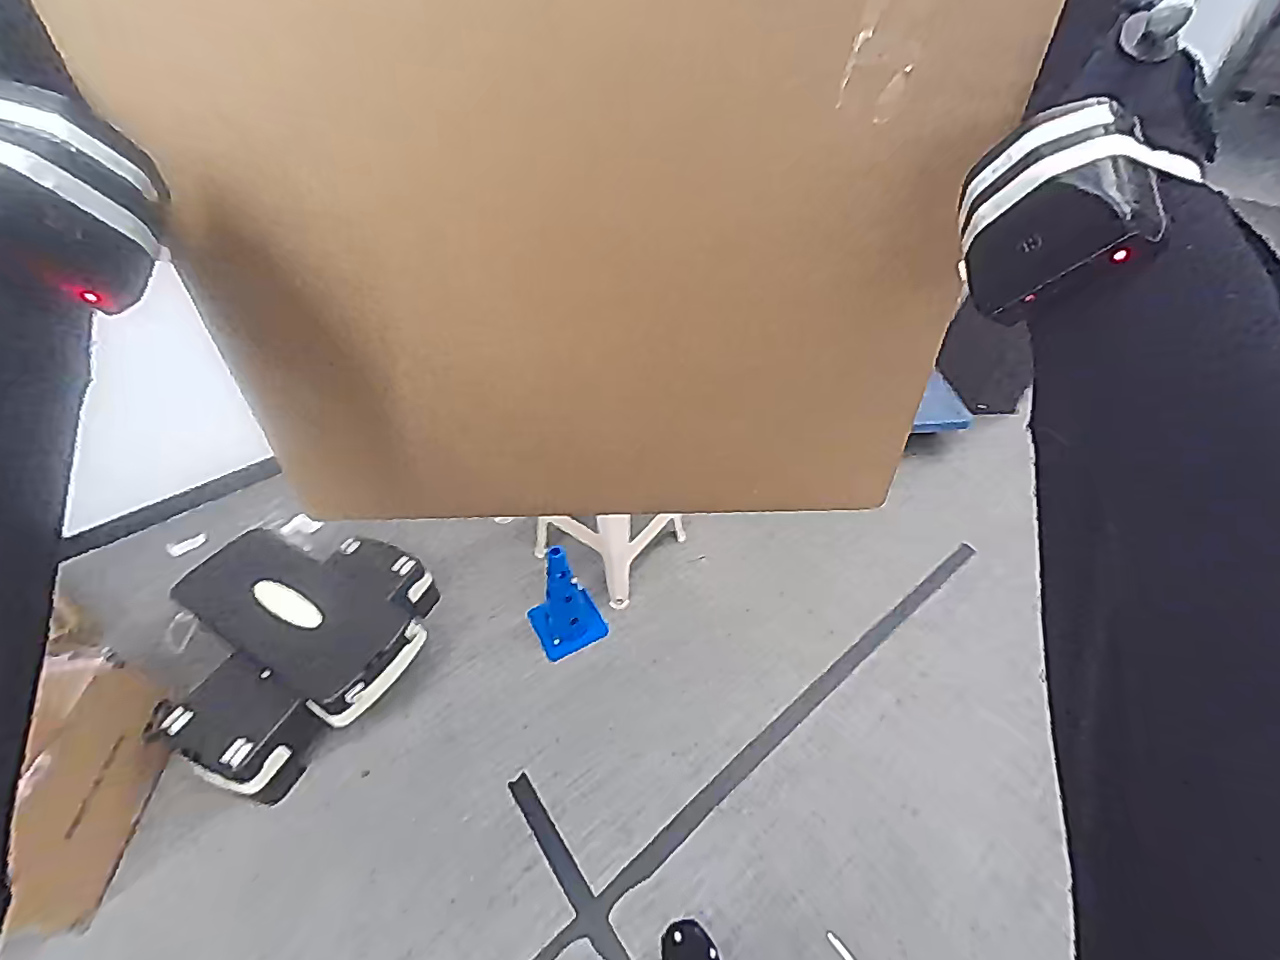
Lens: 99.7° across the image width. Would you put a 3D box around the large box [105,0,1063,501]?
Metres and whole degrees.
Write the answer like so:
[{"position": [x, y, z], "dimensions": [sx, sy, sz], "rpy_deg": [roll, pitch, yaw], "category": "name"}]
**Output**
[{"position": [-0.026, -0.194, 0.407], "dimensions": [0.408, 0.320, 0.320], "rpy_deg": [0, 39, -1], "category": "large box"}]
